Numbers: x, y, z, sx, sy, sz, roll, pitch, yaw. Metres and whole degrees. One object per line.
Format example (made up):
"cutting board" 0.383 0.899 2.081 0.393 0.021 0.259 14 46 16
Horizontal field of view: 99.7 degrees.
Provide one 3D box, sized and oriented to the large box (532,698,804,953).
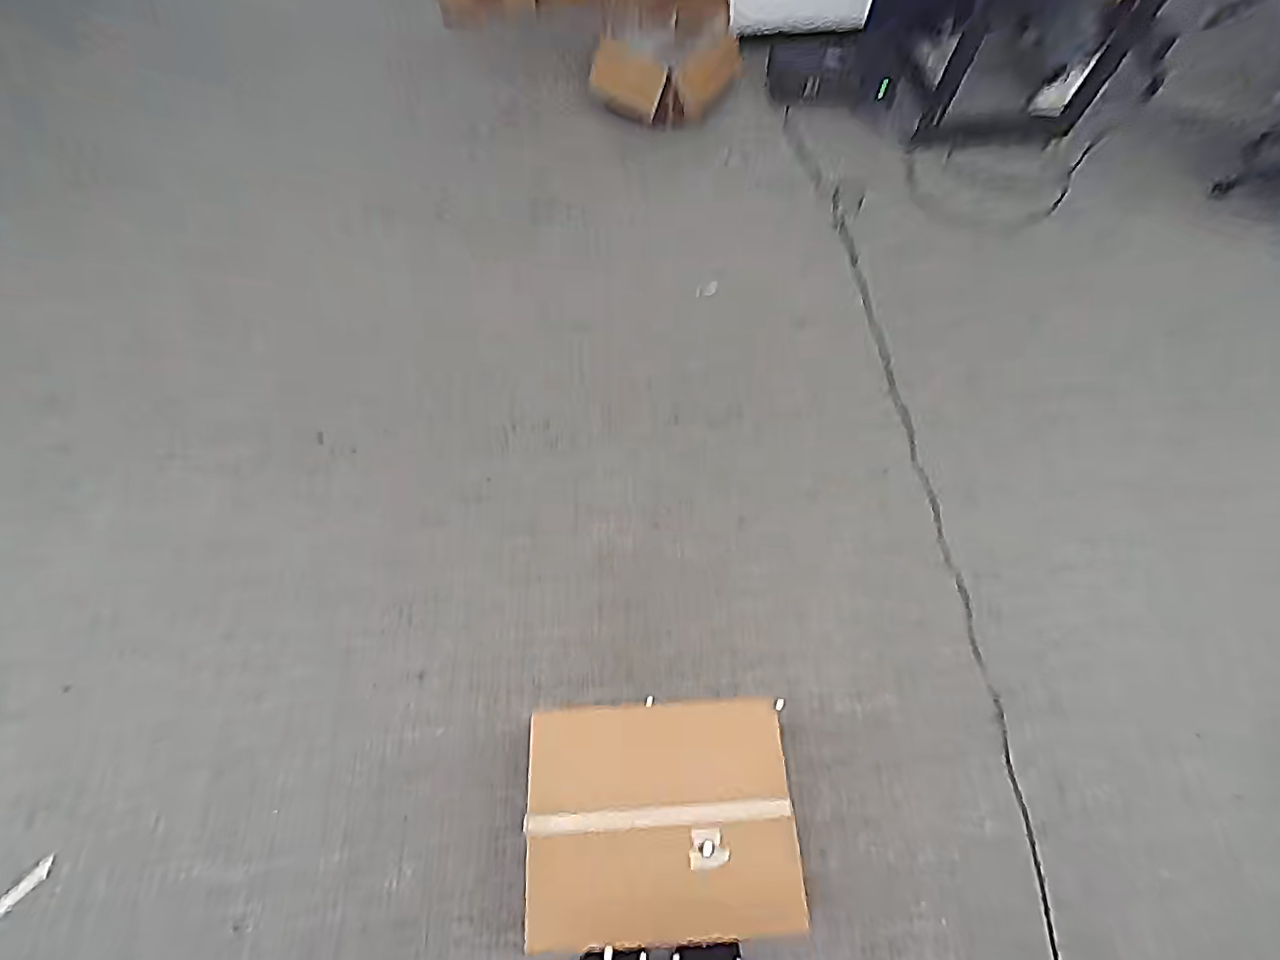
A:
"large box" 0.026 0.585 0.971 0.408 0.320 0.320 -2 64 -3
